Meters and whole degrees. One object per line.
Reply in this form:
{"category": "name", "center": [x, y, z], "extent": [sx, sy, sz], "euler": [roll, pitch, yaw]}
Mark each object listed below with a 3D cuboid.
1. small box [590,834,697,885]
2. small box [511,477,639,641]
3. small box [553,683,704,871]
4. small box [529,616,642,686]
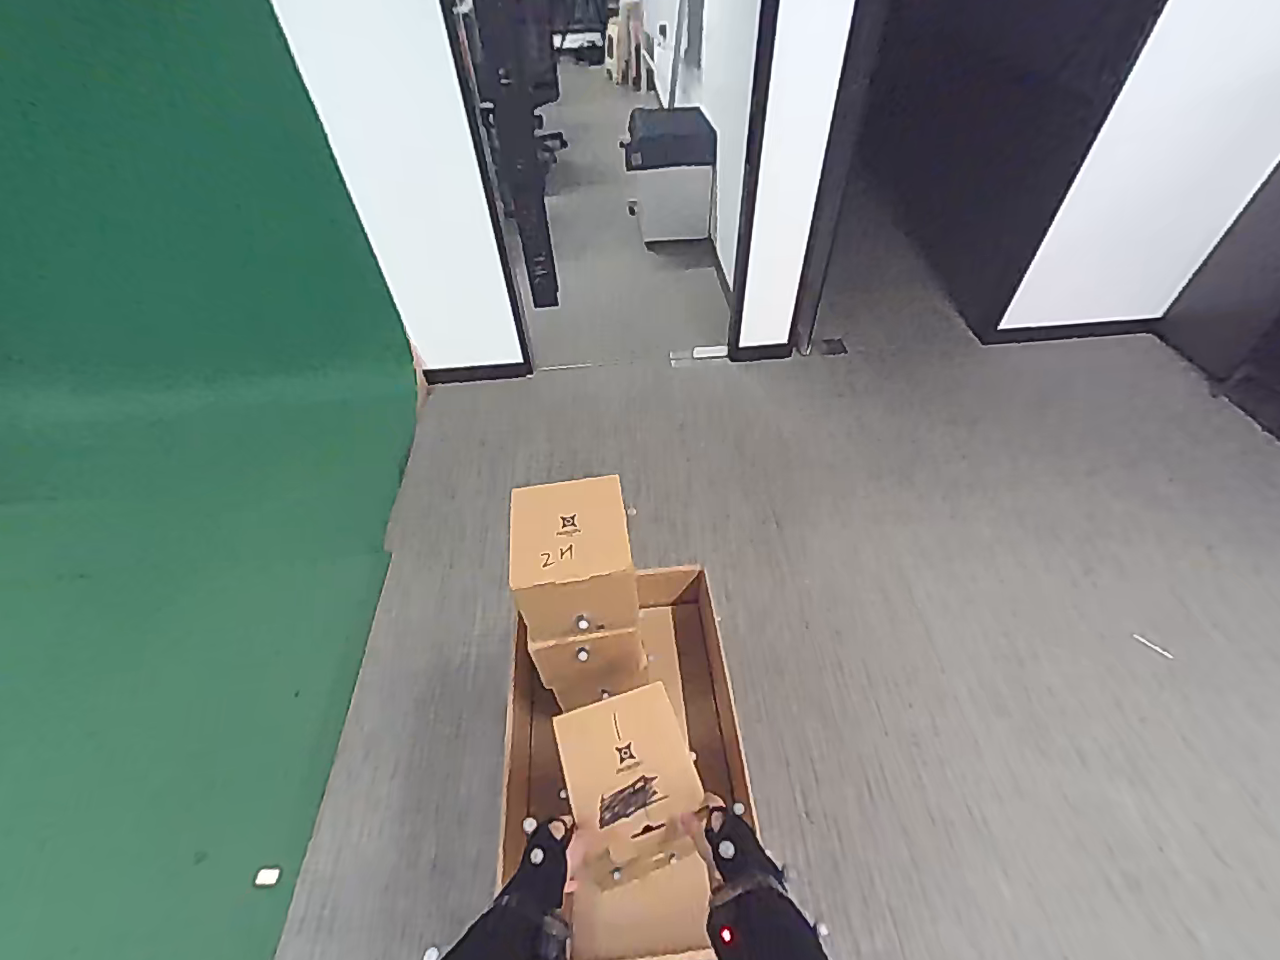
{"category": "small box", "center": [-0.013, 0.539, 0.894], "extent": [0.168, 0.176, 0.179], "euler": [-14, 48, -11]}
{"category": "small box", "center": [-0.095, 0.122, 0.829], "extent": [0.168, 0.176, 0.179], "euler": [-8, 49, -2]}
{"category": "small box", "center": [-0.017, 0.427, 0.772], "extent": [0.168, 0.176, 0.179], "euler": [-14, 46, -12]}
{"category": "small box", "center": [-0.093, 0.240, 0.945], "extent": [0.179, 0.176, 0.168], "euler": [-9, 49, -4]}
